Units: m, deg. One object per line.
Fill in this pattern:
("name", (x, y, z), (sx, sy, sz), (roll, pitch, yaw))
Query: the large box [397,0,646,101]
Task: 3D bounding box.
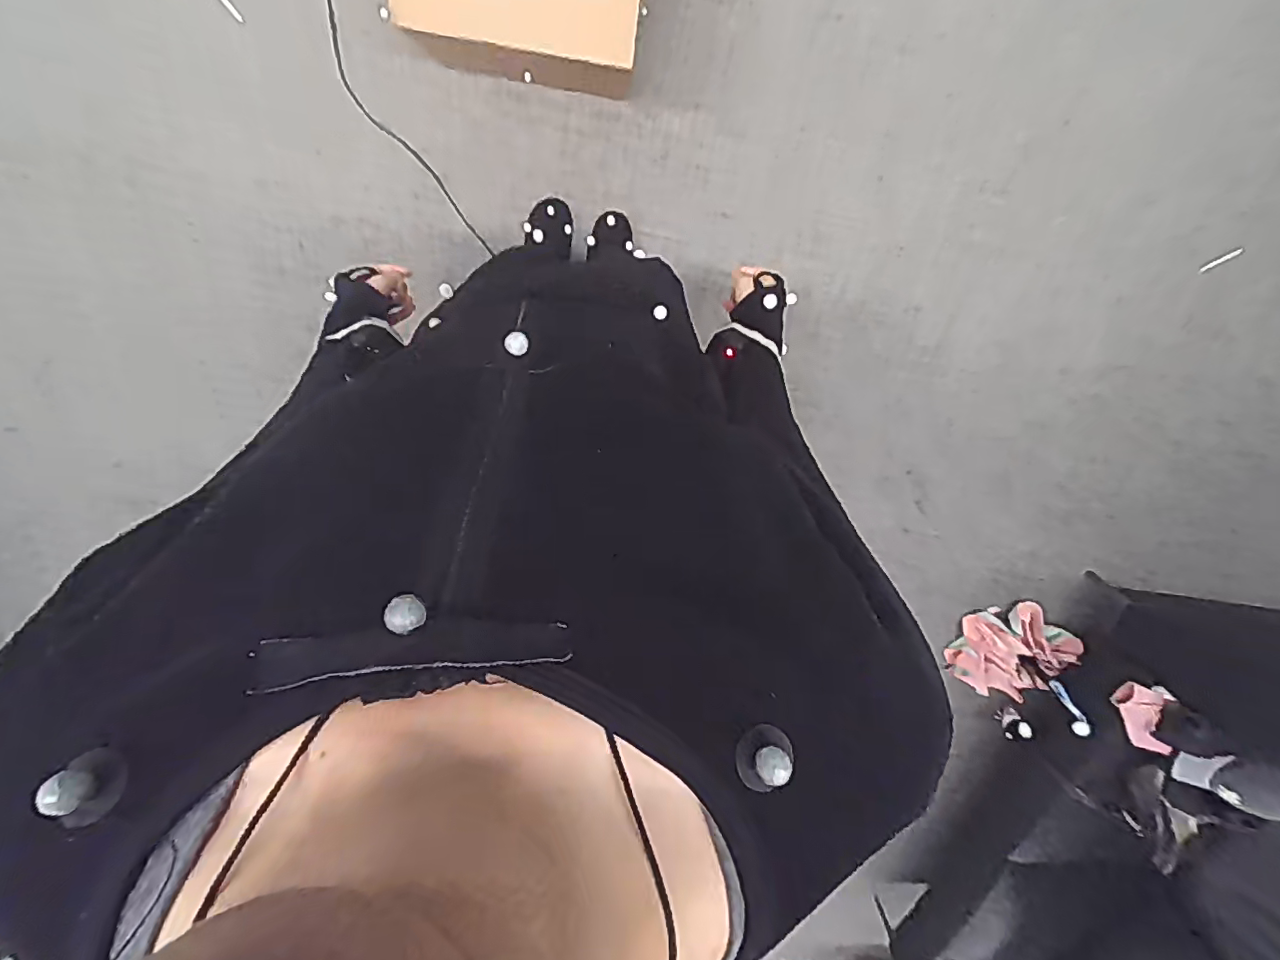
("large box", (-0.188, -0.919, 0.979), (0.408, 0.320, 0.320), (7, 116, -5))
